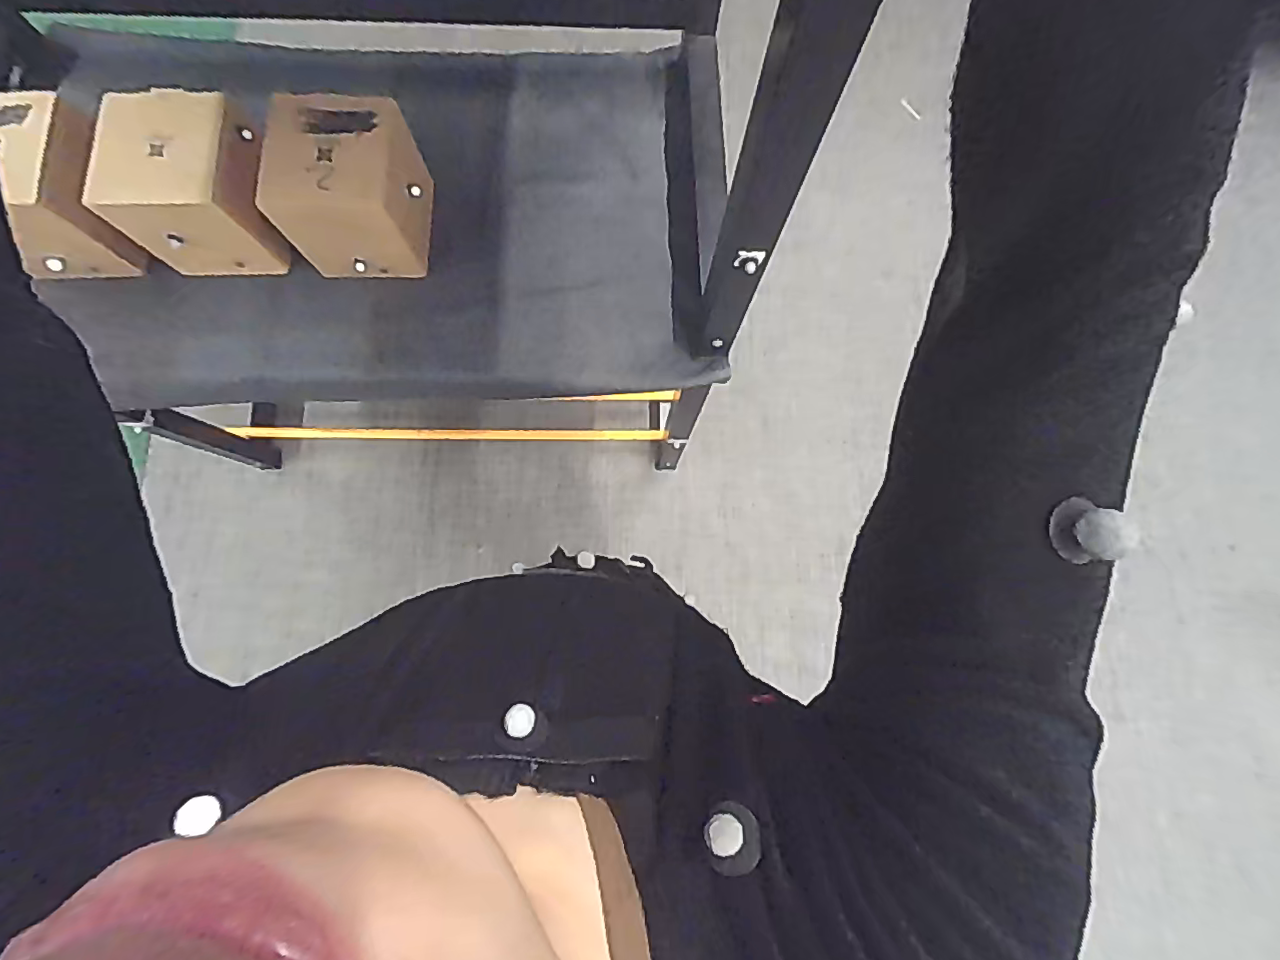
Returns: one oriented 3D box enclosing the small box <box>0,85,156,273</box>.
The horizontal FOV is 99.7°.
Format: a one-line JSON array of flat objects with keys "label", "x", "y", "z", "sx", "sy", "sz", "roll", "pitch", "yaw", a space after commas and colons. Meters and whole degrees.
[{"label": "small box", "x": -0.855, "y": -0.425, "z": 0.781, "sx": 0.168, "sy": 0.176, "sz": 0.179, "roll": -2, "pitch": 79, "yaw": -2}]
